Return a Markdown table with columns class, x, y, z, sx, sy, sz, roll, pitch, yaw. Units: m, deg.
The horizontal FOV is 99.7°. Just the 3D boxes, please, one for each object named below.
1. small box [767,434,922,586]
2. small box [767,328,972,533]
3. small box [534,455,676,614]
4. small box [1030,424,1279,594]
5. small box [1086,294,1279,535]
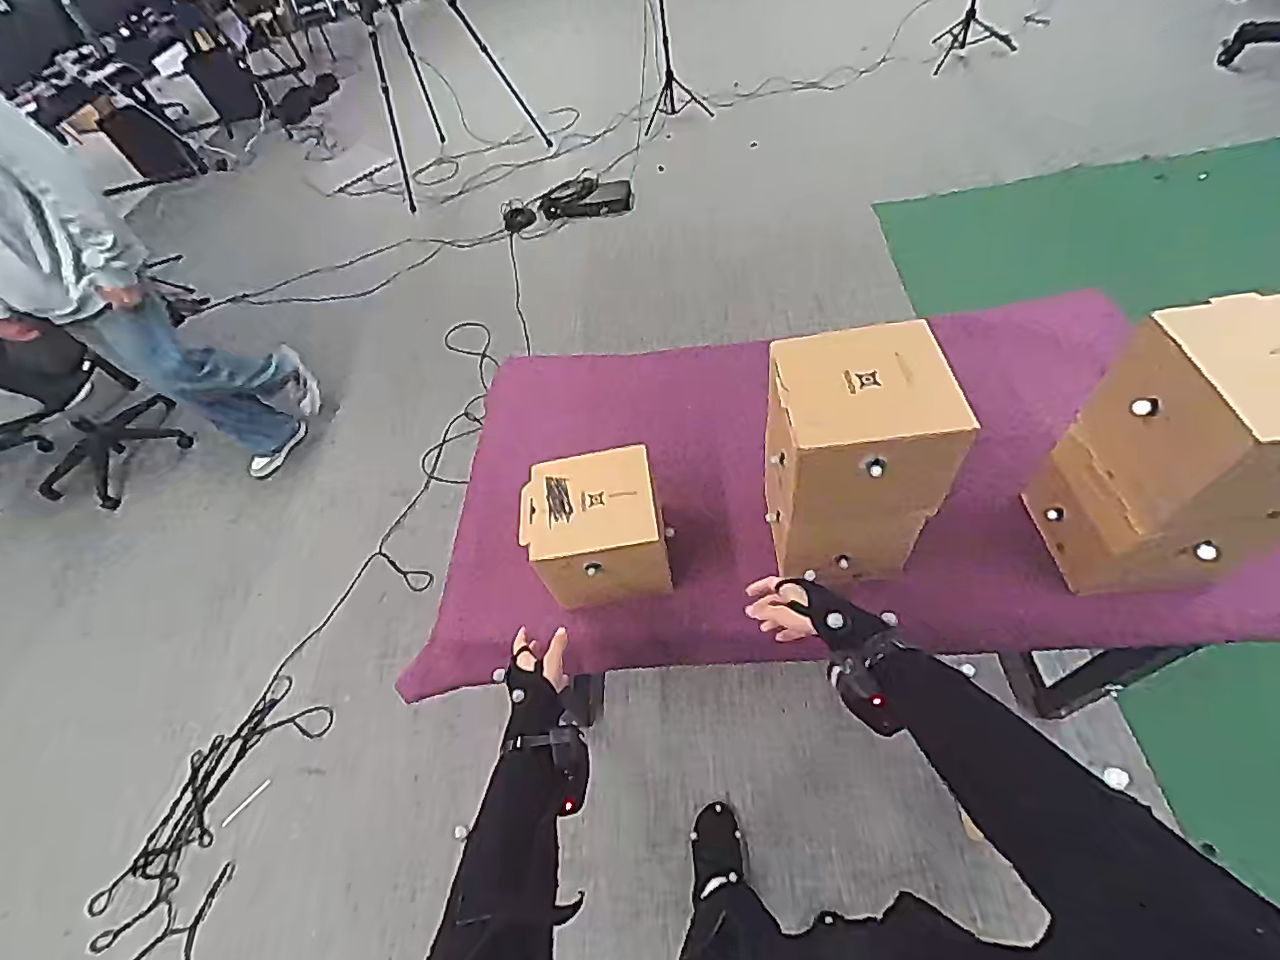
| class | x | y | z | sx | sy | sz | roll | pitch | yaw |
| --- | --- | --- | --- | --- | --- | --- | --- | --- | --- |
| small box | 0.278 | 0.042 | 0.772 | 0.168 | 0.176 | 0.179 | -7 | 52 | 9 |
| small box | 0.251 | -0.050 | 0.640 | 0.179 | 0.176 | 0.168 | -7 | 54 | 9 |
| small box | -0.049 | 0.089 | 0.821 | 0.179 | 0.176 | 0.168 | -11 | 53 | 4 |
| small box | 0.649 | 0.031 | 0.688 | 0.179 | 0.176 | 0.168 | -9 | 54 | 9 |
| small box | 0.618 | -0.065 | 0.558 | 0.168 | 0.176 | 0.179 | -9 | 53 | 10 |
